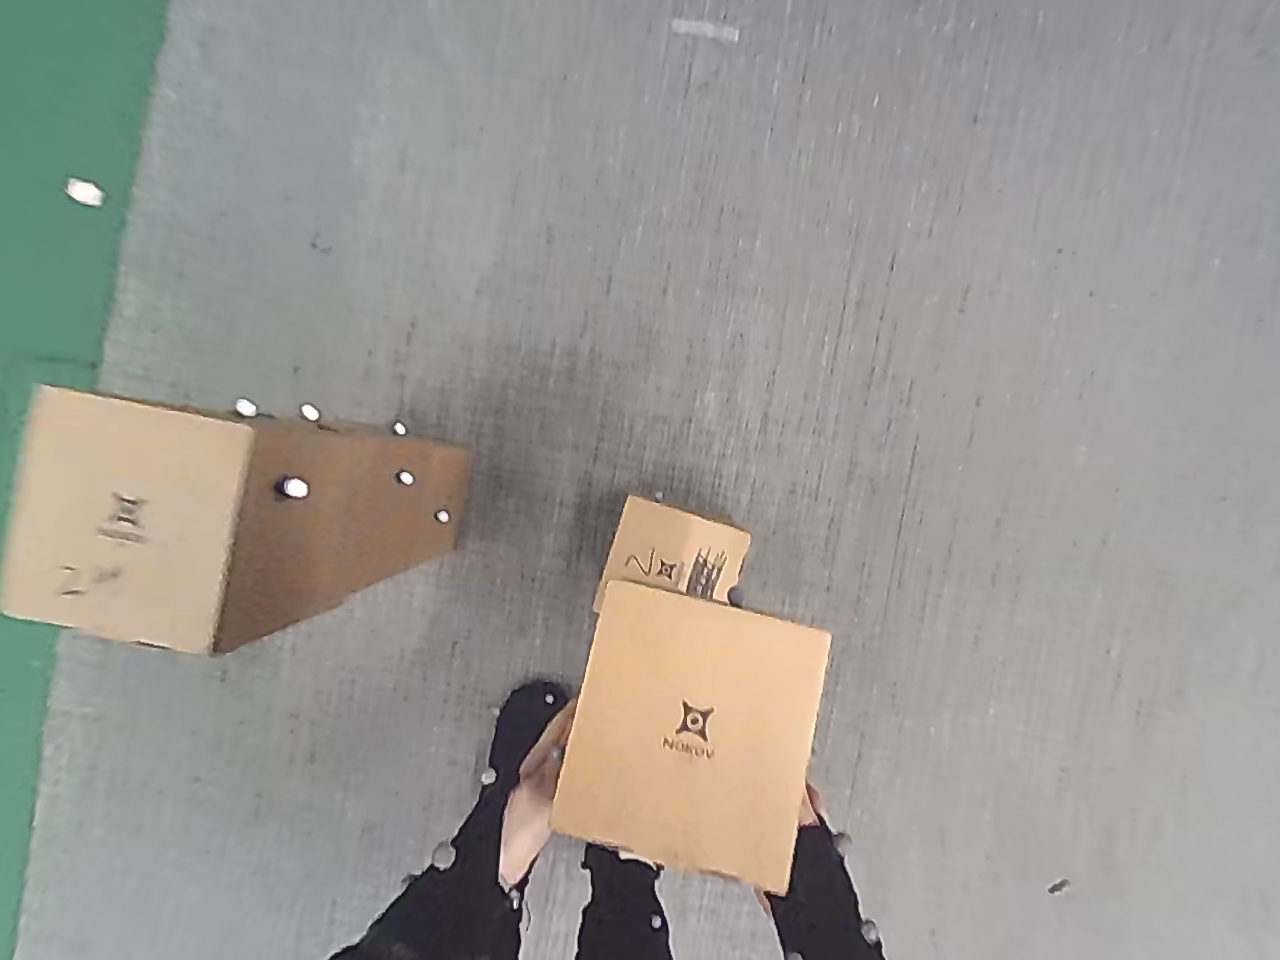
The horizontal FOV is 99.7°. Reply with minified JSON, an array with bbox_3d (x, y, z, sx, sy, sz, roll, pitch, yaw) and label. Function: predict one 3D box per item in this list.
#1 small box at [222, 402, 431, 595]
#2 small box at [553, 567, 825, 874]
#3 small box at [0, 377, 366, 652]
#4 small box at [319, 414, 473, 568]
[{"bbox_3d":[-0.366,0.017,0.636,0.168,0.176,0.179,11,92,2],"label":"small box"},{"bbox_3d":[0.038,0.177,0.458,0.168,0.176,0.179,12,81,4],"label":"small box"},{"bbox_3d":[-0.369,0.024,0.471,0.168,0.176,0.179,11,91,3],"label":"small box"},{"bbox_3d":[-0.365,0.012,0.799,0.168,0.176,0.179,14,92,1],"label":"small box"}]
